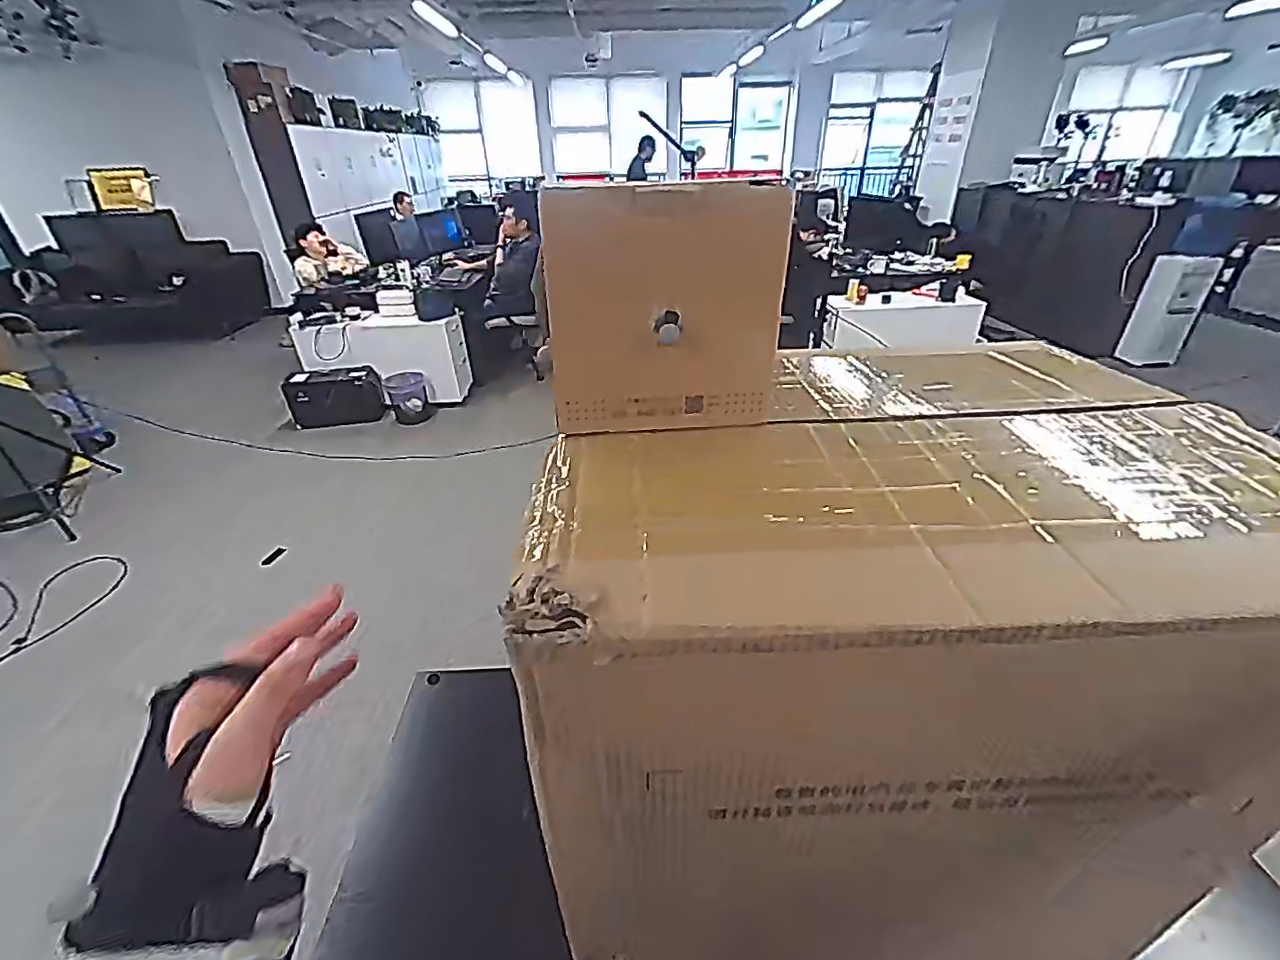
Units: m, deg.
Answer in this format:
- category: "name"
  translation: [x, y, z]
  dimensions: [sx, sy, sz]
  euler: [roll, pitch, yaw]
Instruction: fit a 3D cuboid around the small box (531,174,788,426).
- category: "small box"
  translation: [0.009, -0.149, 0.444]
  dimensions: [0.168, 0.176, 0.179]
  euler: [-4, 30, -5]
